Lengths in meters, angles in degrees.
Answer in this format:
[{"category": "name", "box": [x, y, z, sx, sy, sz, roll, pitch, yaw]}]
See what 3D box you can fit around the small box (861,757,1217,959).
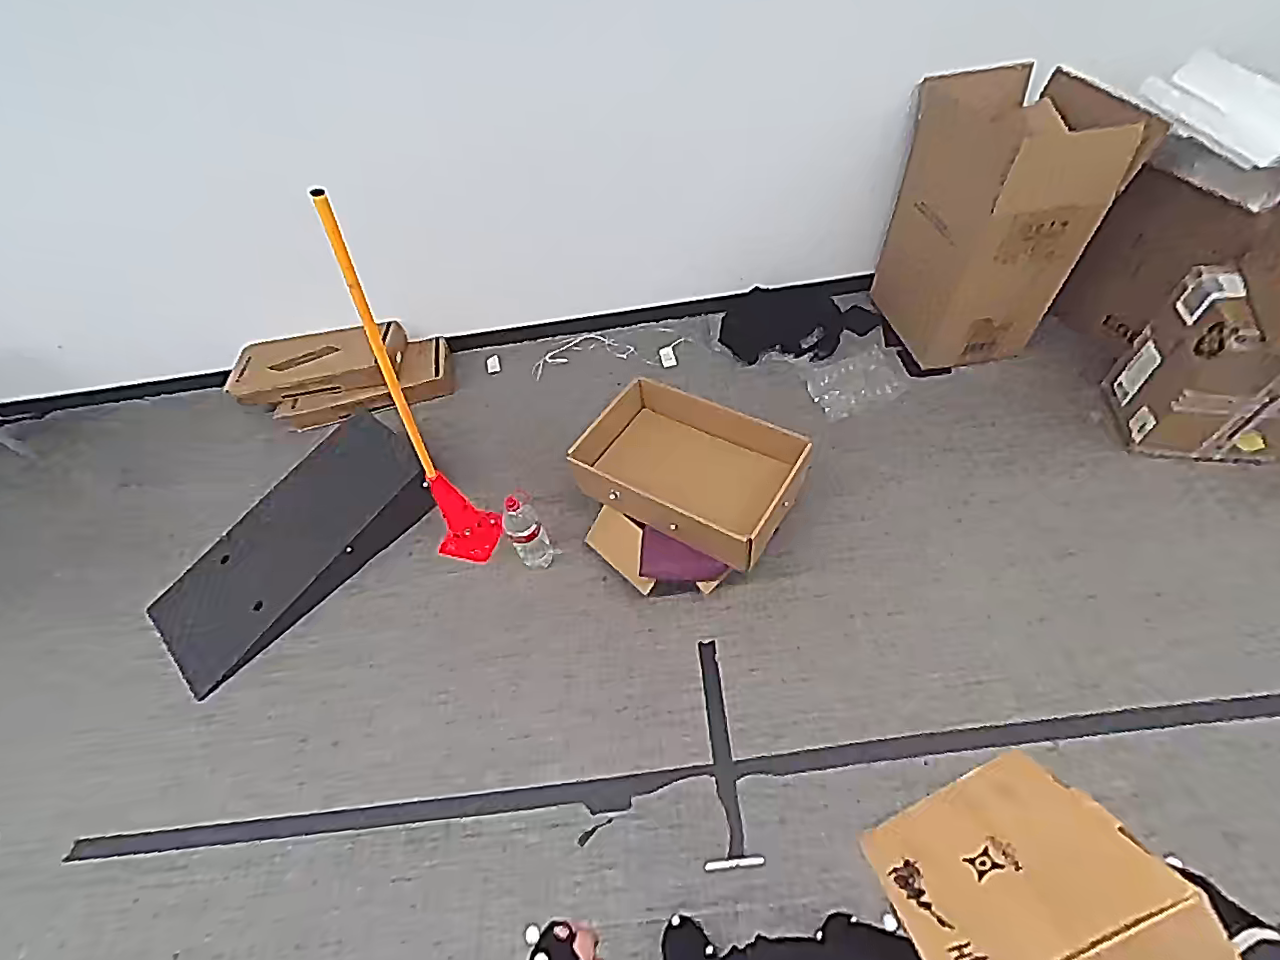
[{"category": "small box", "box": [0.324, 0.378, 0.438, 0.179, 0.168, 0.176, -29, 91, 1]}]
